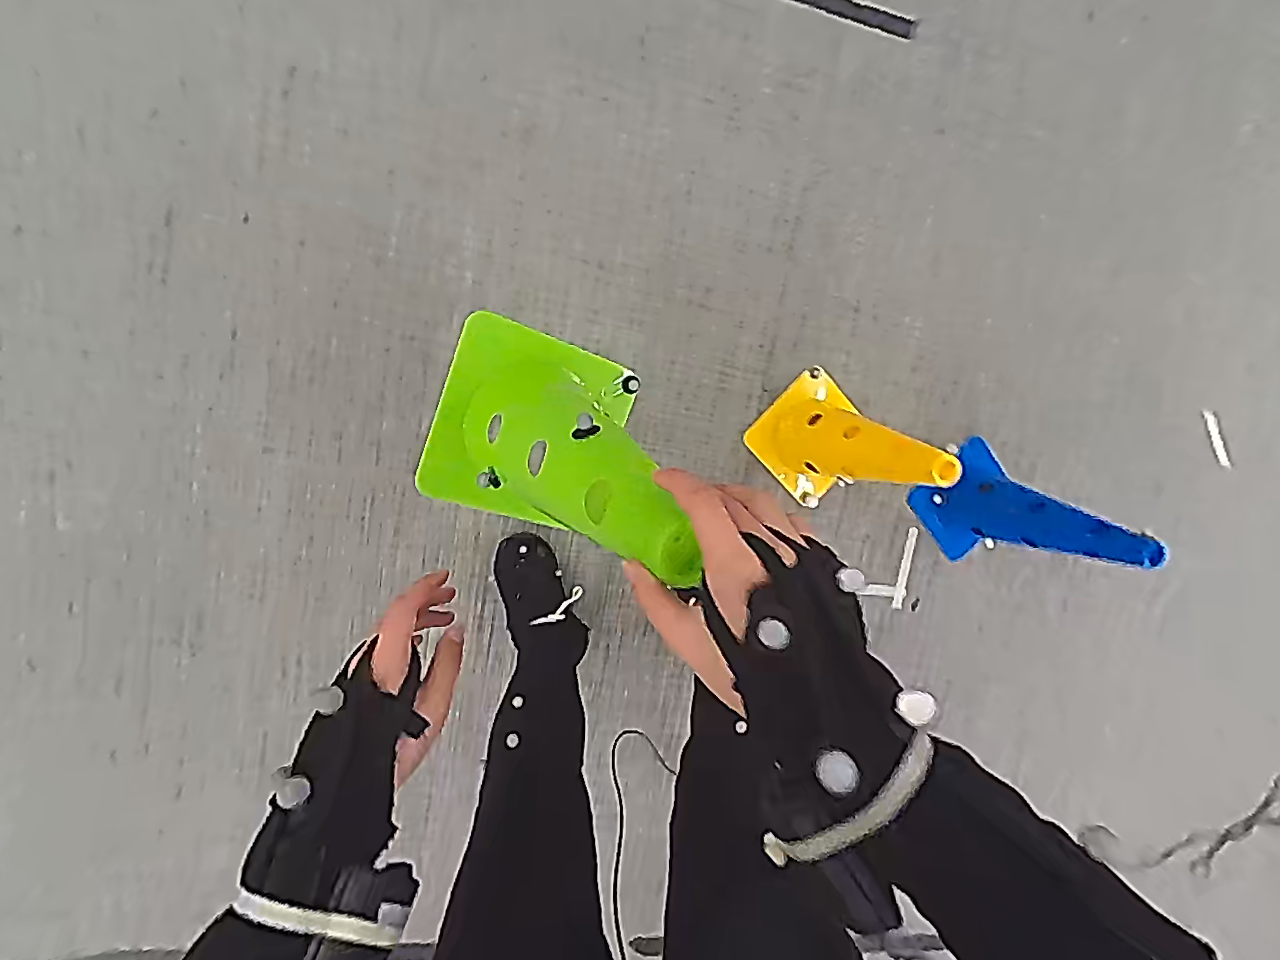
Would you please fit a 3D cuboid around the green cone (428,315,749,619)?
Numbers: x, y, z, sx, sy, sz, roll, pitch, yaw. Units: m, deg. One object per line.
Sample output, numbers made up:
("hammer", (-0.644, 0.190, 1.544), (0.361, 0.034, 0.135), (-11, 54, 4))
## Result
("green cone", (-0.034, -0.002, 0.422), (0.200, 0.368, 0.202), (17, 99, -27))
